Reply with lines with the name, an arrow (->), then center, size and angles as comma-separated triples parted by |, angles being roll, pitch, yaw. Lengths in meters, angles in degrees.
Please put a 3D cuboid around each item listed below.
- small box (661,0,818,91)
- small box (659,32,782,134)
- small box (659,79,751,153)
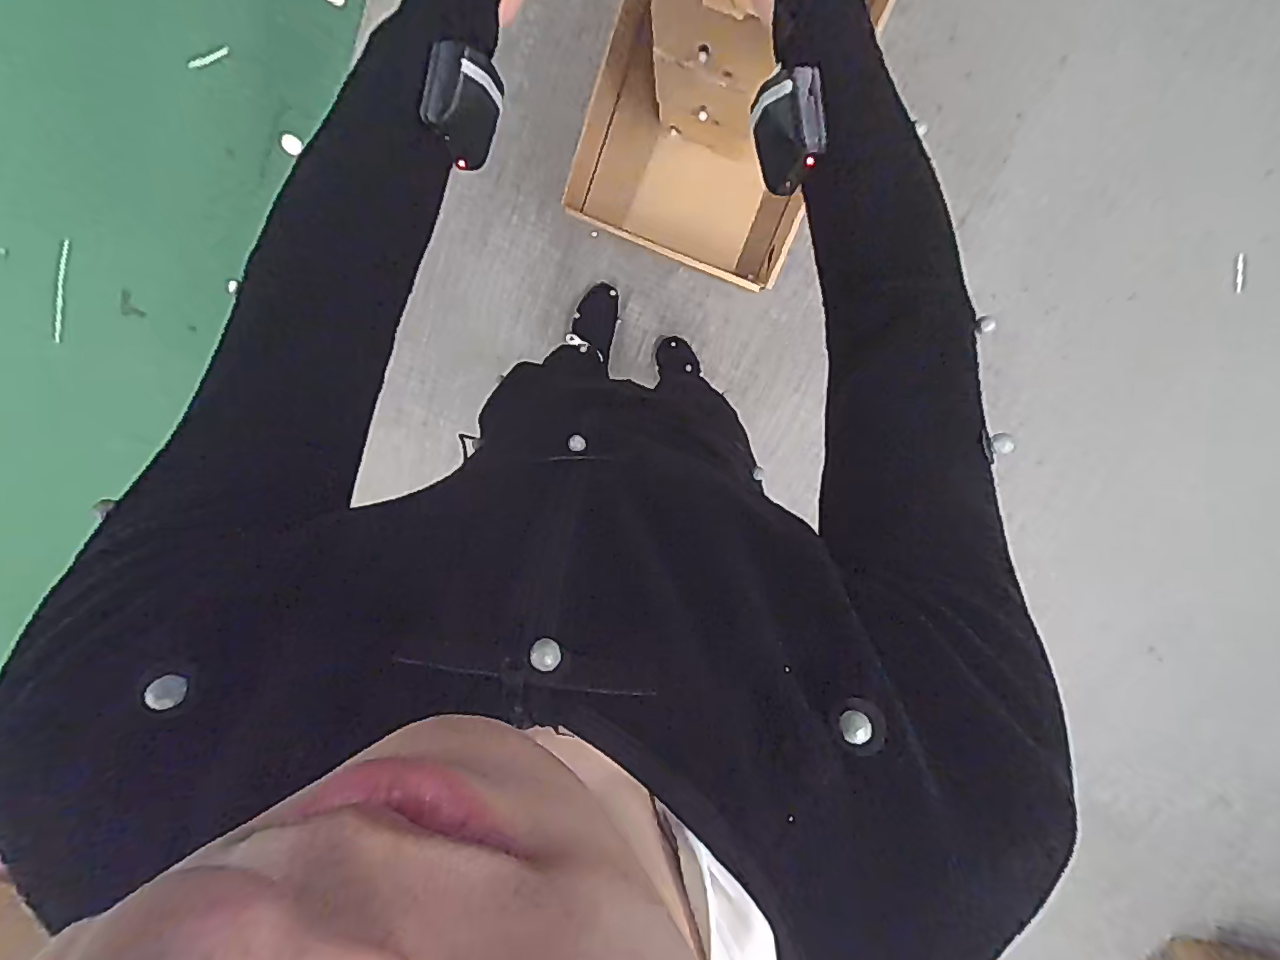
small box -> 0.124, -0.581, 0.595 | 0.168, 0.176, 0.179 | 21, 107, -4
small box -> 0.131, -0.625, 0.751 | 0.168, 0.176, 0.179 | 21, 107, -3
small box -> 0.141, -0.684, 0.905 | 0.168, 0.176, 0.179 | 22, 106, -4
